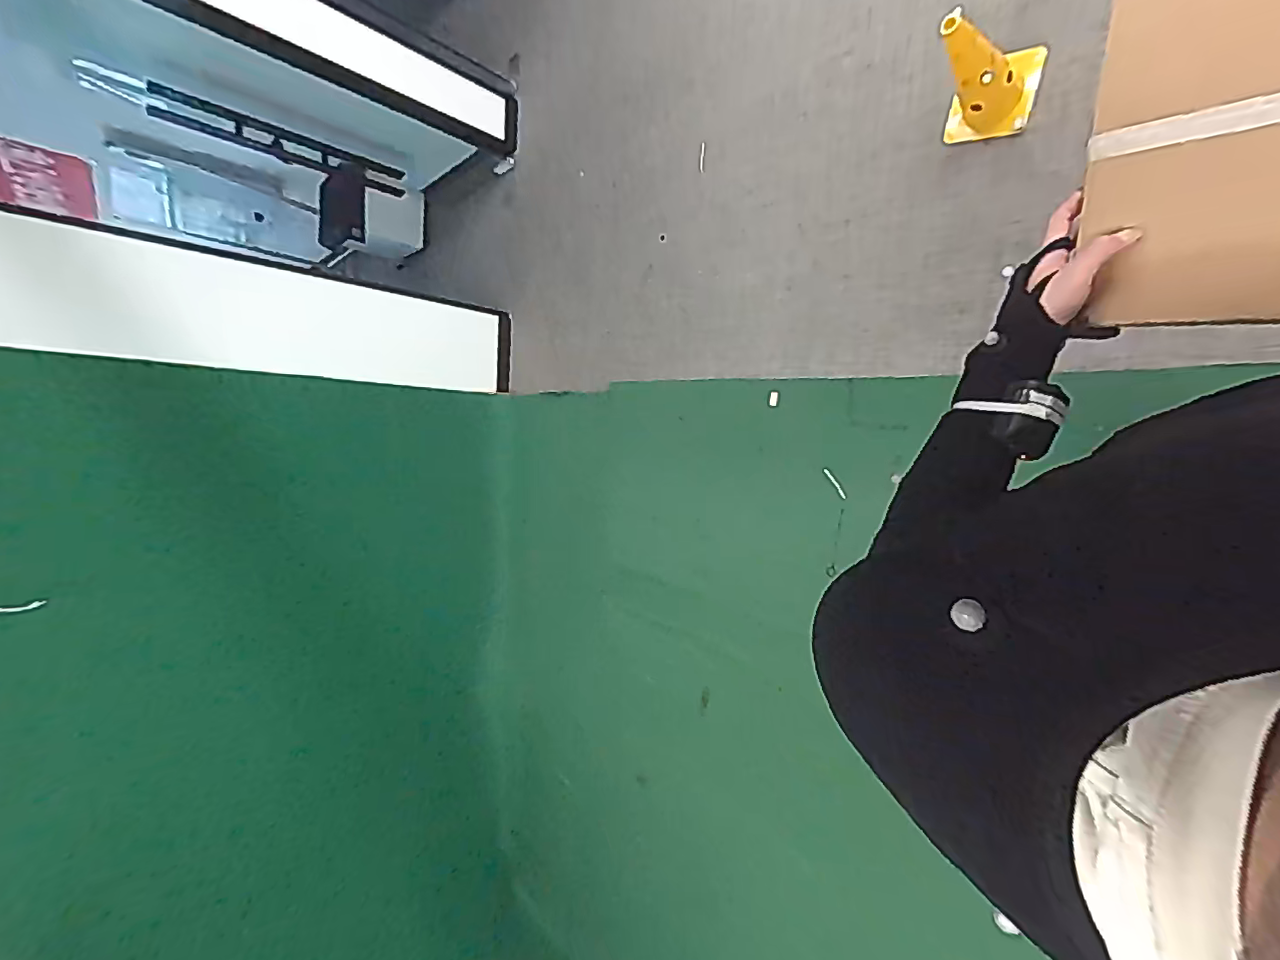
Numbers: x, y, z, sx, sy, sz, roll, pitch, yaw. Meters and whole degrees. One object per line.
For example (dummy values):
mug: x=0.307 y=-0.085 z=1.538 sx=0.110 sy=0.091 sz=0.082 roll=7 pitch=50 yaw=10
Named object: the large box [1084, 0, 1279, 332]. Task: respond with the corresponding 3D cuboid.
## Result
large box: x=0.667 y=-0.296 z=0.452 sx=0.408 sy=0.320 sz=0.320 roll=12 pitch=110 yaw=46
